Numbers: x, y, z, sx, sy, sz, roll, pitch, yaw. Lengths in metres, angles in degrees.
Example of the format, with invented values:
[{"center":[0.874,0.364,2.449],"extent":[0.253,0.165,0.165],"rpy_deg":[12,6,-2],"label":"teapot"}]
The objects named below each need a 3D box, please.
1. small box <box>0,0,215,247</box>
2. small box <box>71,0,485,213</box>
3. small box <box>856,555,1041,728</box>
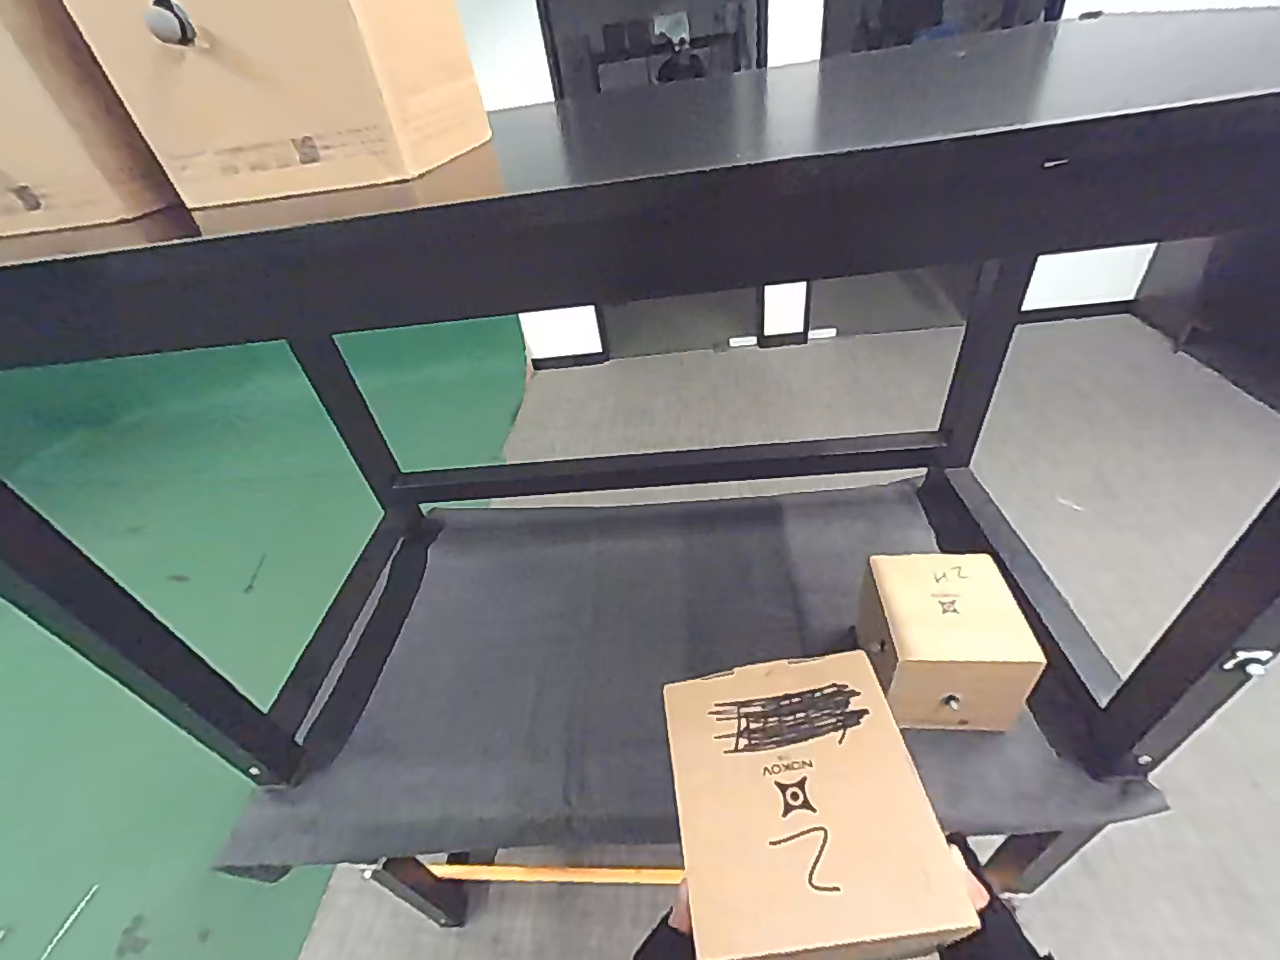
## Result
[{"center":[-0.422,-0.281,0.392],"extent":[0.168,0.176,0.179],"rpy_deg":[-3,40,8],"label":"small box"},{"center":[-0.226,-0.295,0.373],"extent":[0.168,0.176,0.179],"rpy_deg":[-3,39,9],"label":"small box"},{"center":[0.413,0.226,0.759],"extent":[0.168,0.176,0.179],"rpy_deg":[-1,39,9],"label":"small box"}]
